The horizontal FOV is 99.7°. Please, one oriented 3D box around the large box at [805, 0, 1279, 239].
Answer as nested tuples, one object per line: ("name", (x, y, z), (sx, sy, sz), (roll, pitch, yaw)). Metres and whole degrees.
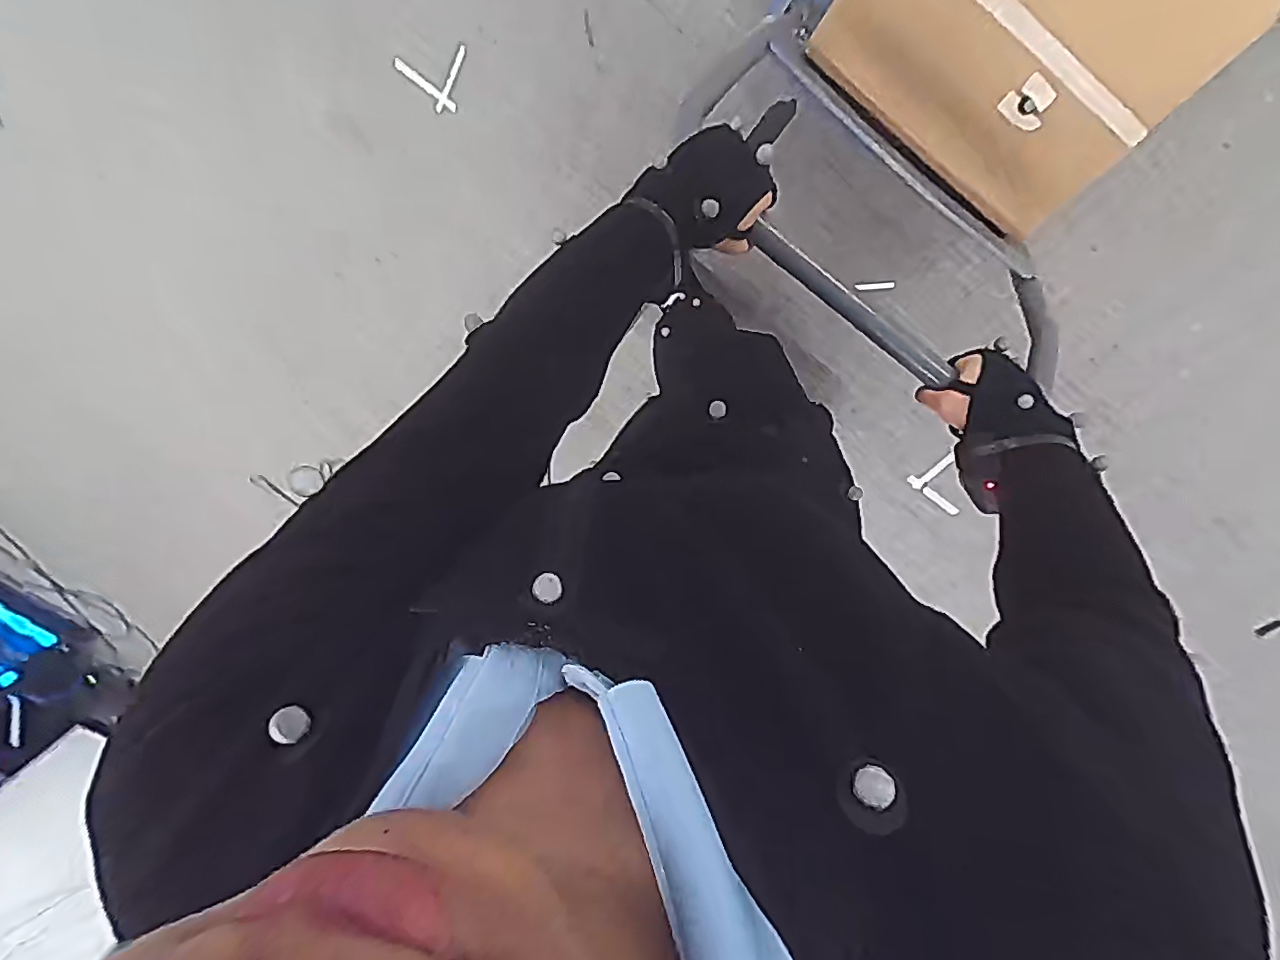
("large box", (0.495, -0.633, 0.761), (0.408, 0.320, 0.320), (34, 134, -10))
